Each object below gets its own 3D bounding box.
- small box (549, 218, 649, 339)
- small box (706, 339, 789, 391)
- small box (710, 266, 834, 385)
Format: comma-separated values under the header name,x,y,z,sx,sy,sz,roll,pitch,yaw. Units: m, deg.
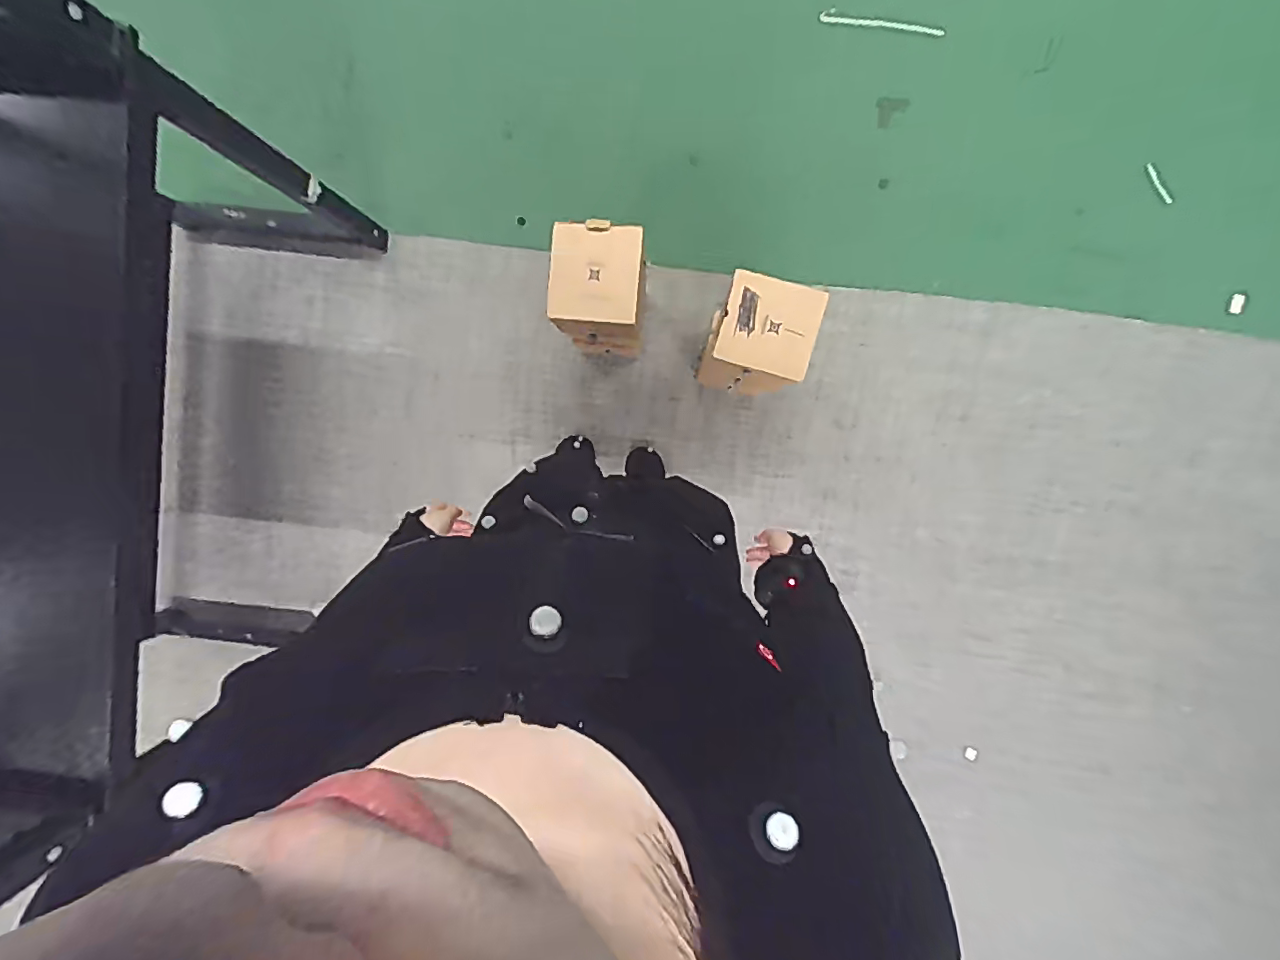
name,x,y,z,sx,sy,sz,roll,pitch,yaw
small box,-0.072,-0.380,1.045,0.168,0.176,0.179,4,95,4
small box,0.255,-0.301,1.200,0.179,0.176,0.168,18,97,0
small box,0.241,-0.286,1.038,0.179,0.176,0.168,16,96,0
